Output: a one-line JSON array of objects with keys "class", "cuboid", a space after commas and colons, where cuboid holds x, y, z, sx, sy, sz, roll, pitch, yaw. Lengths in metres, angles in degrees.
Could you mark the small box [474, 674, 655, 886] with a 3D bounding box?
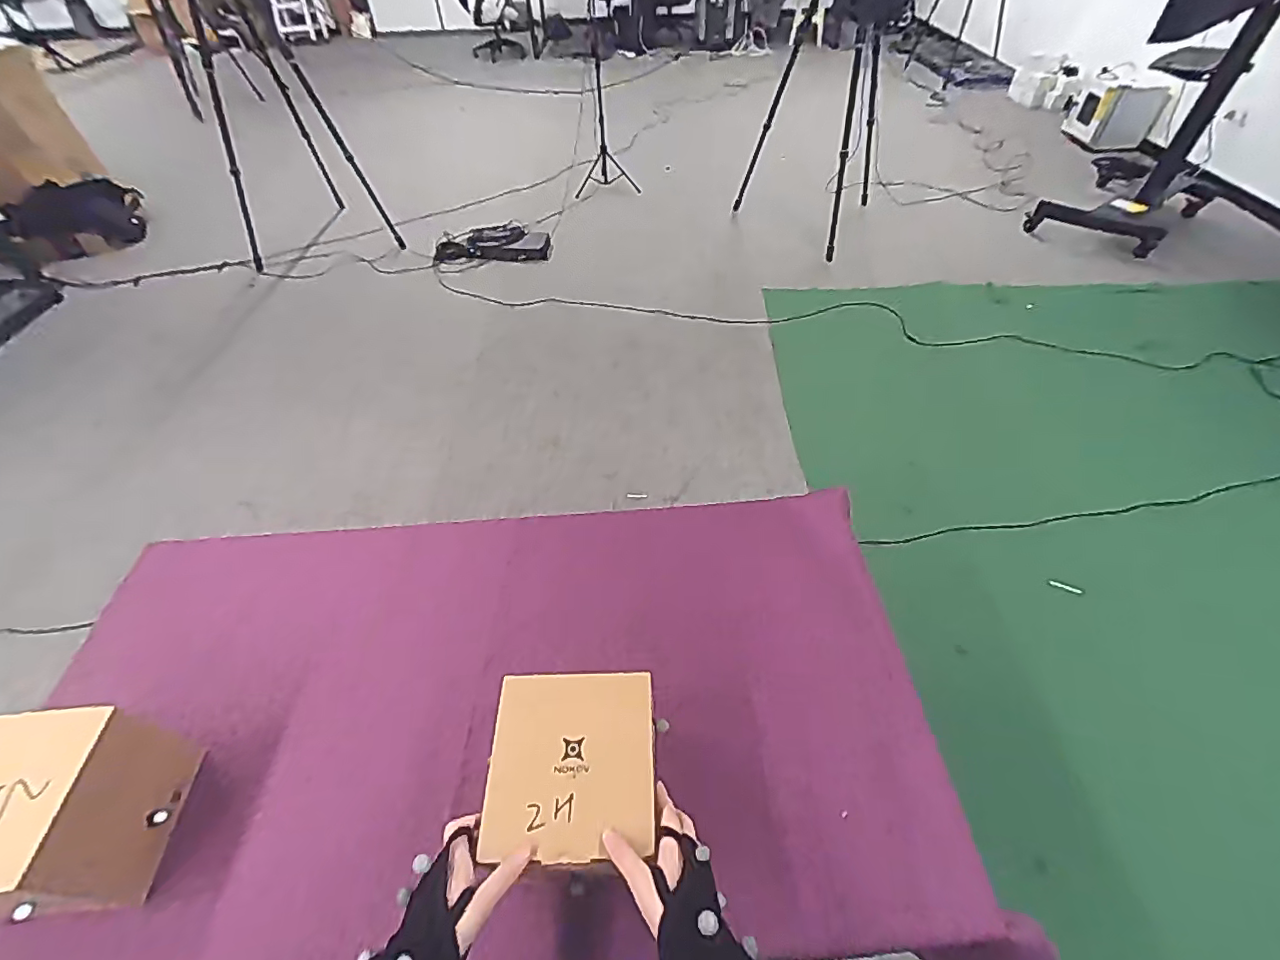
[{"class": "small box", "cuboid": [-0.068, 0.335, 0.602, 0.168, 0.176, 0.179, -2, 49, 1]}]
